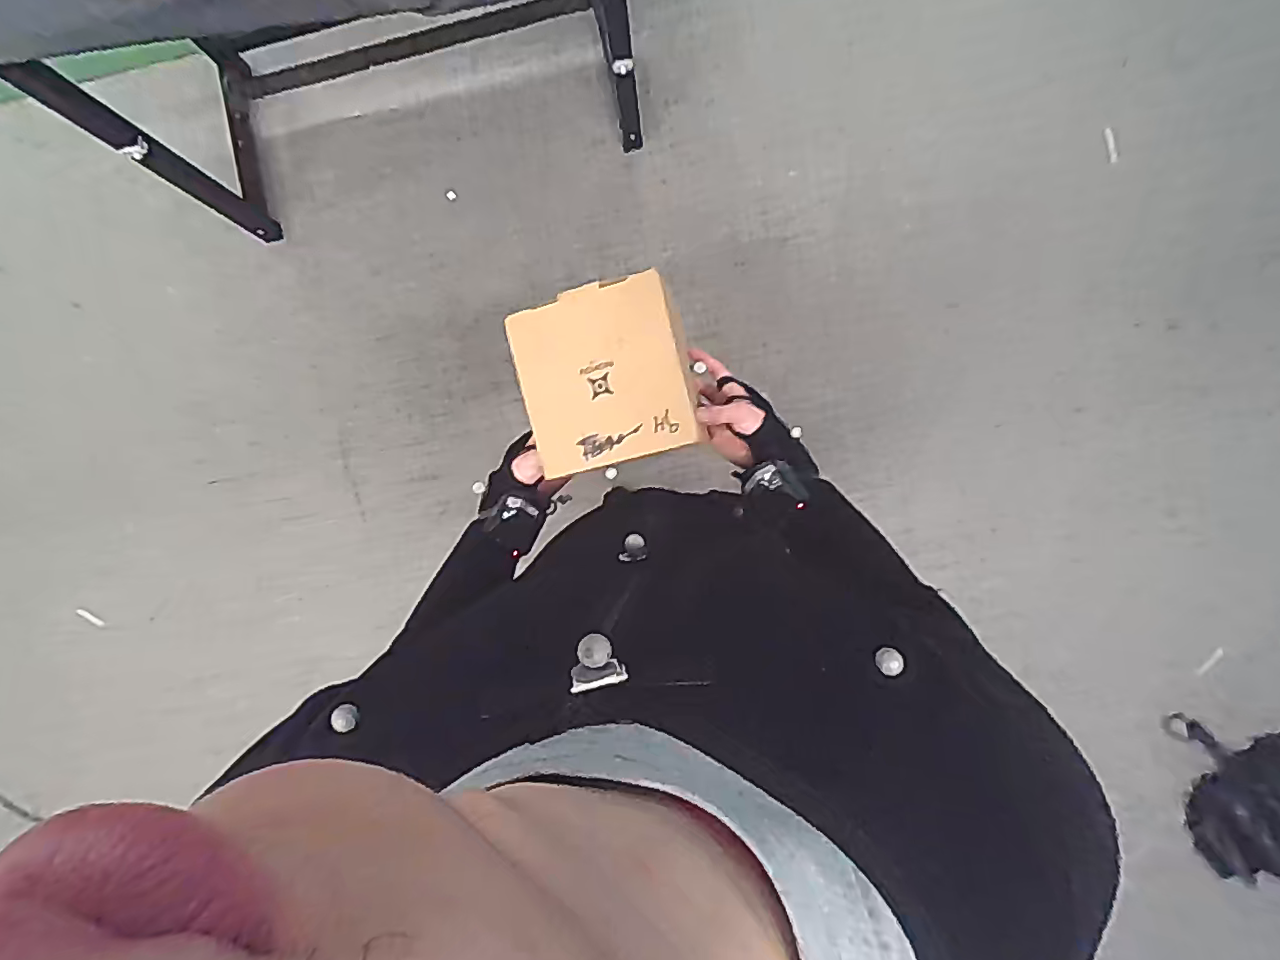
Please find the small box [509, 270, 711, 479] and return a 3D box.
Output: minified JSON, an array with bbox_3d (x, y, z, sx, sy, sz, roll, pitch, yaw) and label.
[{"bbox_3d":[-0.022,-0.107,0.618,0.168,0.176,0.179,-16,91,12],"label":"small box"}]
